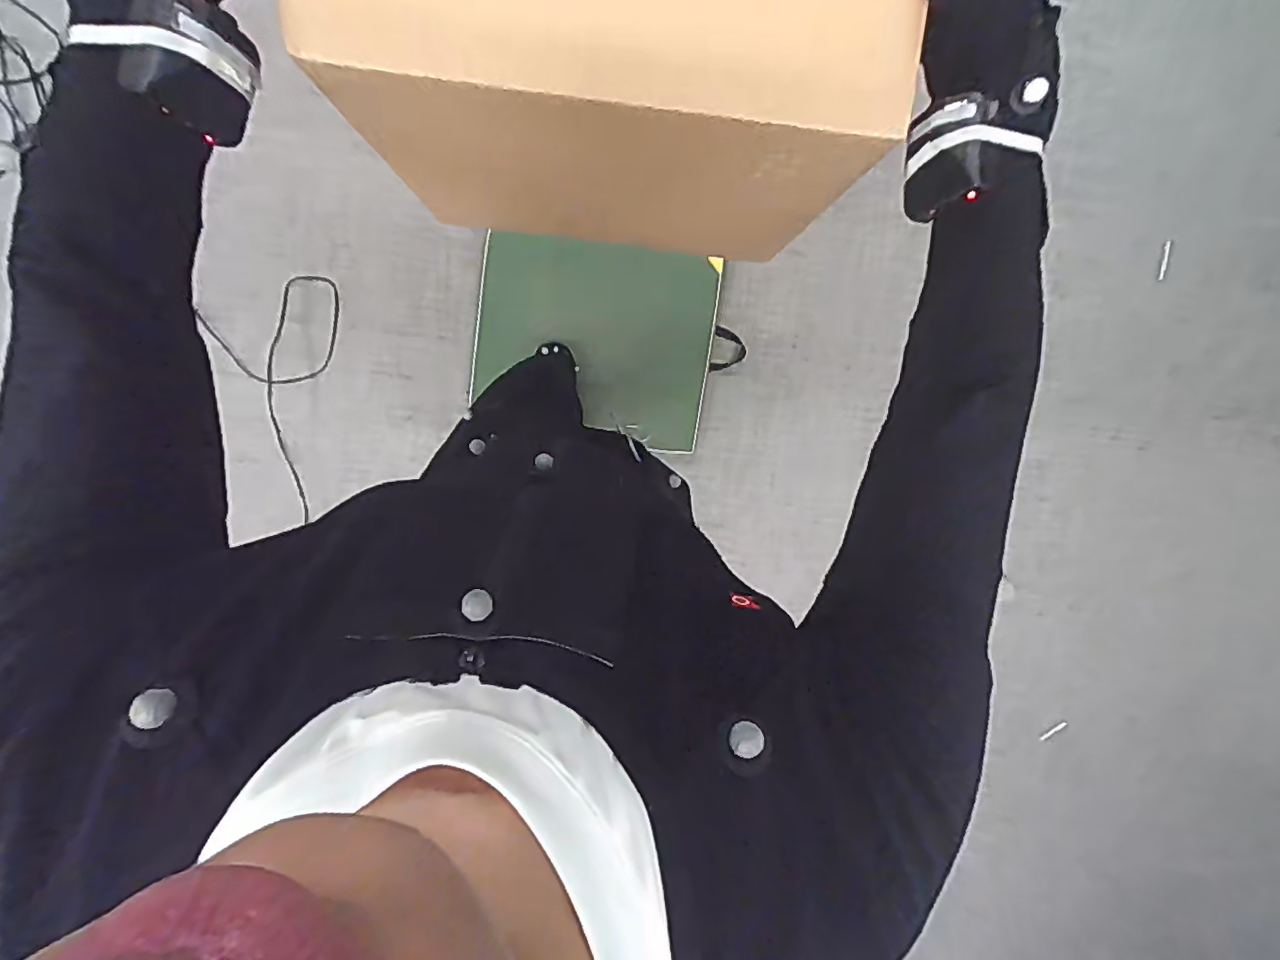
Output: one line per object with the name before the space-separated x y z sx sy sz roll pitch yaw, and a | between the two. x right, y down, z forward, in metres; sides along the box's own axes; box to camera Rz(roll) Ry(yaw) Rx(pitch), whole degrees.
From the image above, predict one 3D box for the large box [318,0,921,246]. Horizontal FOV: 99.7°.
large box | -0.011 -0.431 0.491 0.408 0.320 0.320 4 98 -5
